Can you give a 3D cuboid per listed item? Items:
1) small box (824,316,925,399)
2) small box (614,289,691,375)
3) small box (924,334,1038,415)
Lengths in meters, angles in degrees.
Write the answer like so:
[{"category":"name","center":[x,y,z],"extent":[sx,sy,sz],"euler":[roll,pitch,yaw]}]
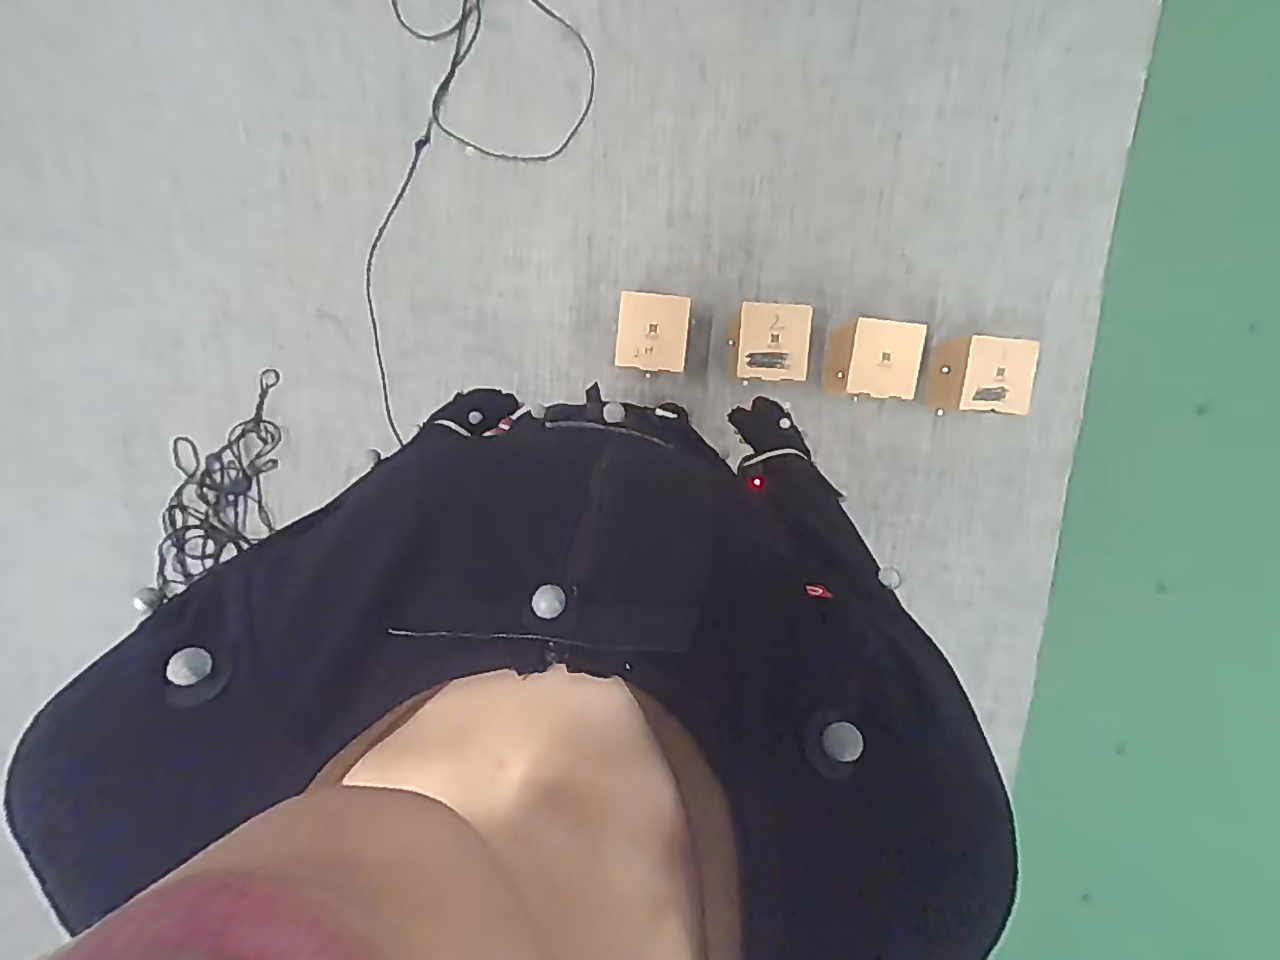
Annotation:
[{"category":"small box","center":[0.573,-0.299,1.347],"extent":[0.168,0.176,0.179],"euler":[6,99,-1]},{"category":"small box","center":[0.028,-0.360,1.338],"extent":[0.168,0.176,0.179],"euler":[6,99,0]},{"category":"small box","center":[0.840,-0.261,1.351],"extent":[0.168,0.176,0.179],"euler":[6,98,-1]}]
